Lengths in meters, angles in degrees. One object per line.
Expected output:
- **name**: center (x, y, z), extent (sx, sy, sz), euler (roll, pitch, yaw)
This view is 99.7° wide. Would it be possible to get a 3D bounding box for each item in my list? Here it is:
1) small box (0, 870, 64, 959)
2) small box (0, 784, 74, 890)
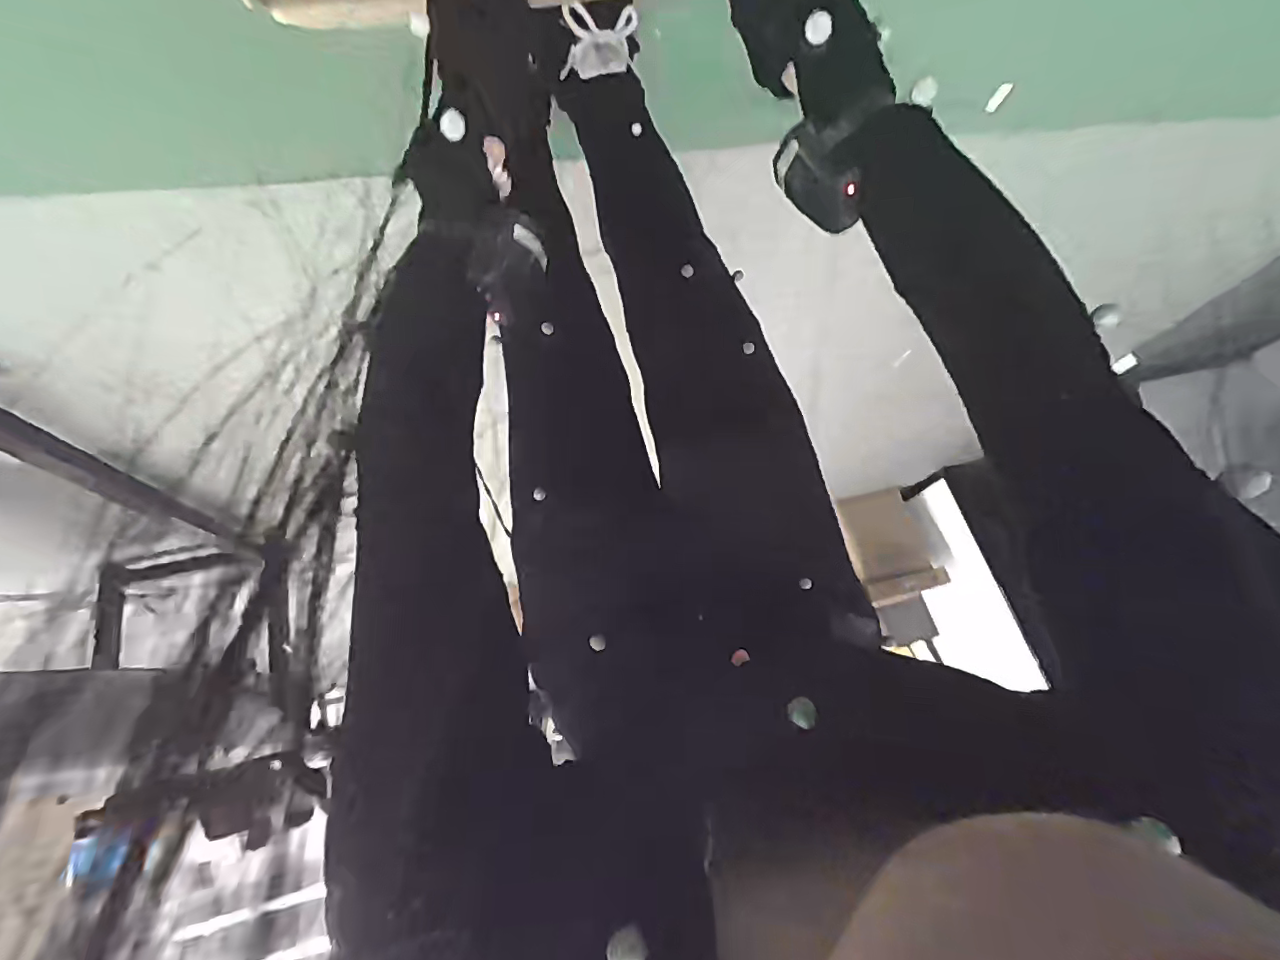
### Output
- **small box**: center (-1.244, 0.866, 1.009), extent (0.179, 0.176, 0.168), euler (-13, 160, -9)
- **small box**: center (-1.270, 0.710, 1.057), extent (0.179, 0.176, 0.168), euler (-11, 159, -10)
